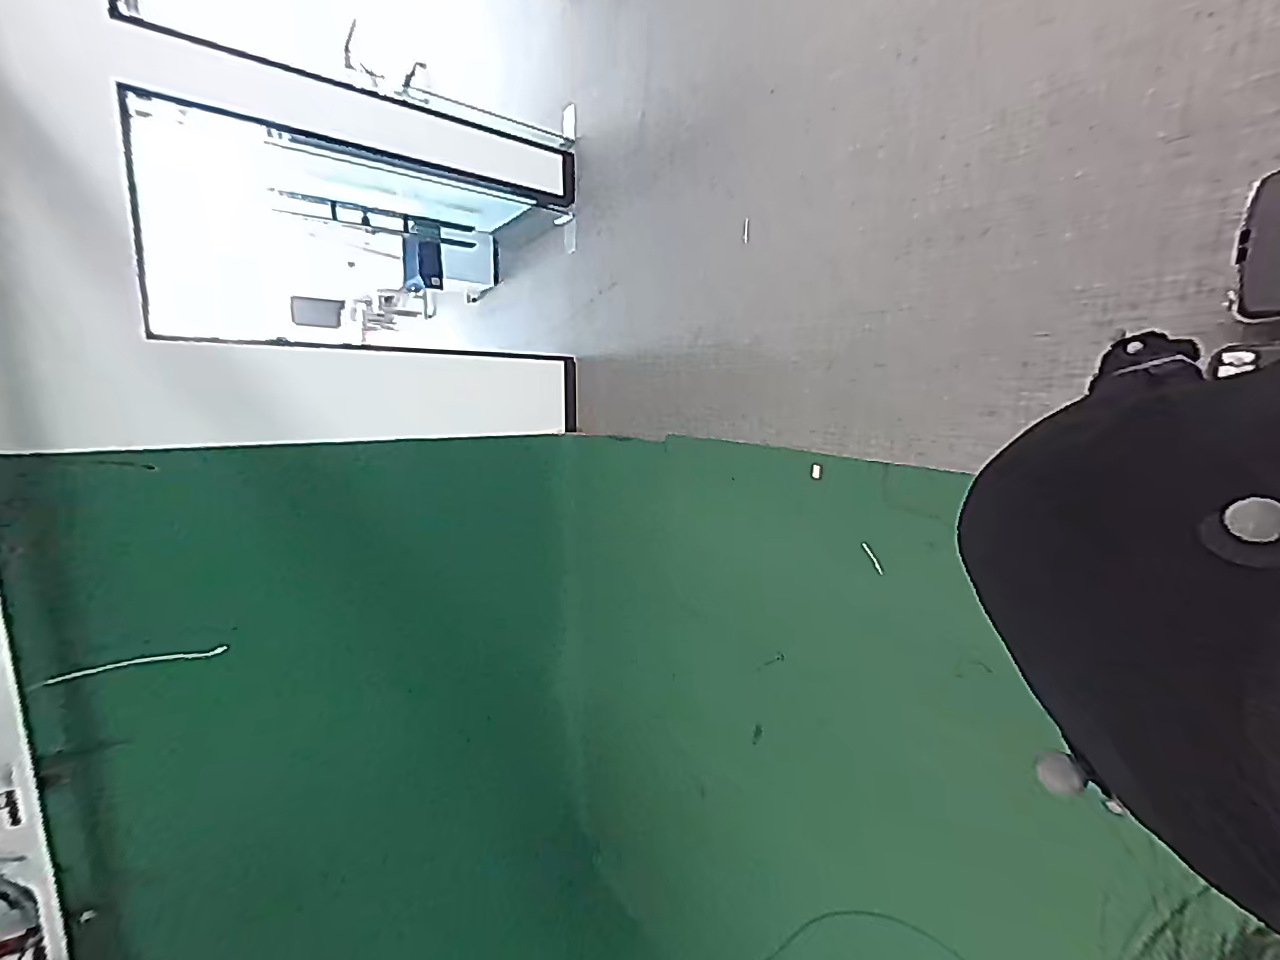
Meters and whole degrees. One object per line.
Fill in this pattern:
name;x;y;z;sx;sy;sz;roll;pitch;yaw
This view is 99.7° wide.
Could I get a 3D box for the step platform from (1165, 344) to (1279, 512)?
step platform;1.228;-0.057;0.757;0.684;0.204;0.286;12;104;52
